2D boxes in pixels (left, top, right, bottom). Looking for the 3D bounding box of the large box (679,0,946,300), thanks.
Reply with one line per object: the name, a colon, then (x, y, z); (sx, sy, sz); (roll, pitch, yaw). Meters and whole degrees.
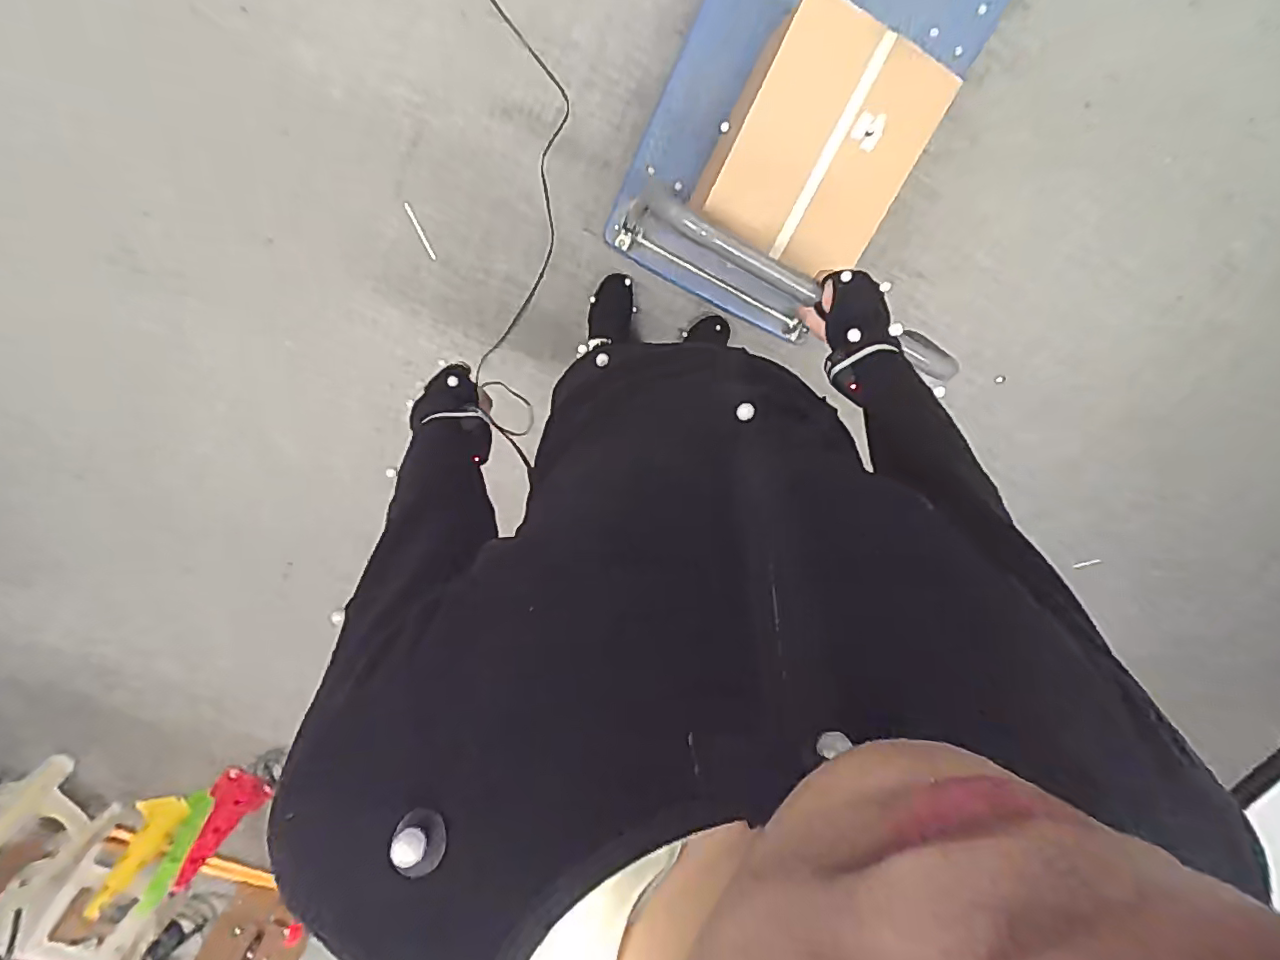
large box: (0.312, -0.629, 1.115); (0.320, 0.320, 0.408); (23, 108, -12)
